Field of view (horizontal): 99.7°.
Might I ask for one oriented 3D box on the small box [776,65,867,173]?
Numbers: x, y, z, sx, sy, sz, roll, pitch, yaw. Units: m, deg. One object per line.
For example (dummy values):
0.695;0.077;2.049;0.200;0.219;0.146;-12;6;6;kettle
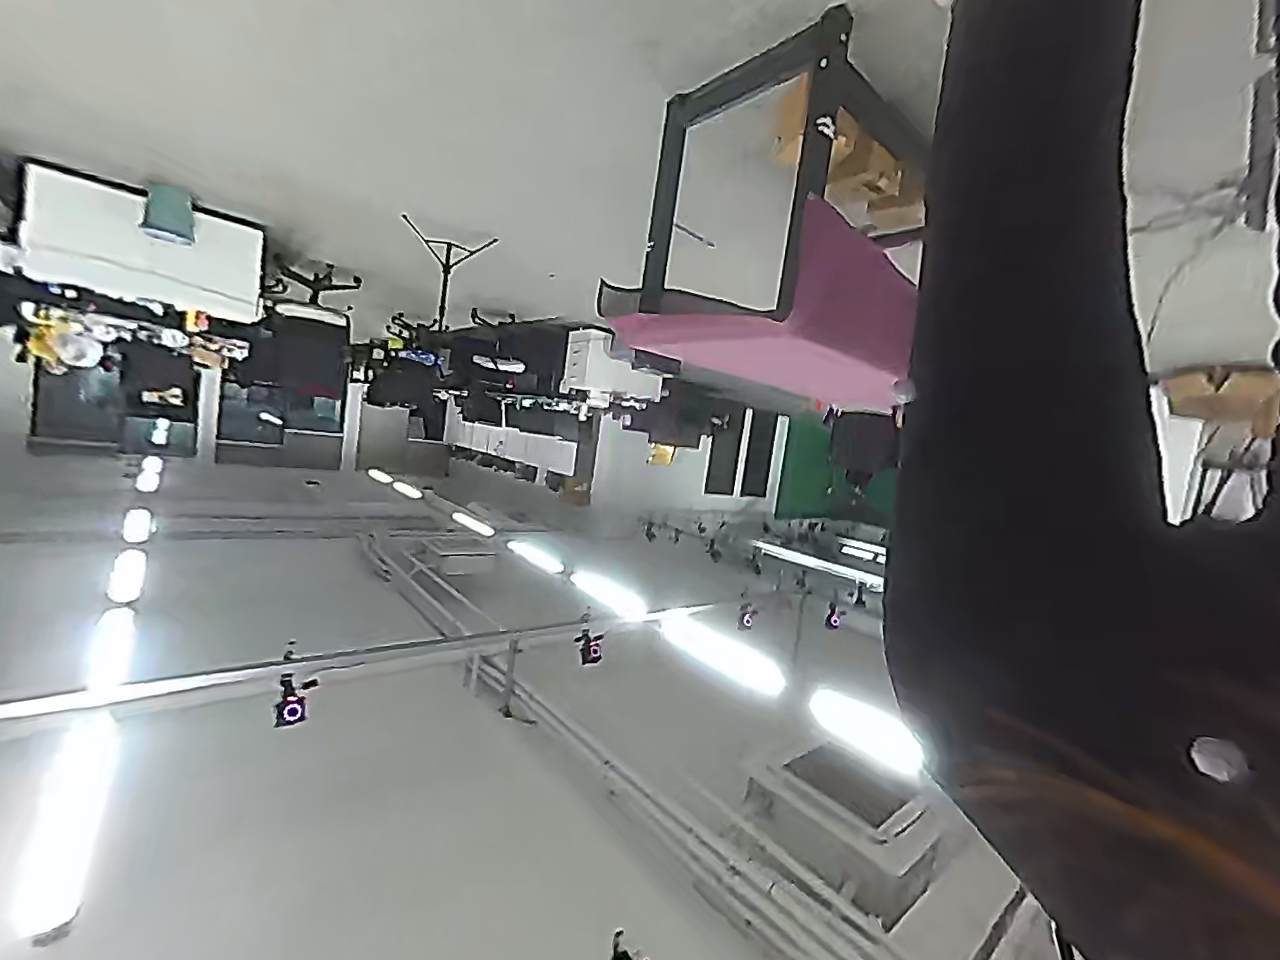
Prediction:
0.504;-0.996;1.502;0.168;0.176;0.179;7;-174;-12;small box
